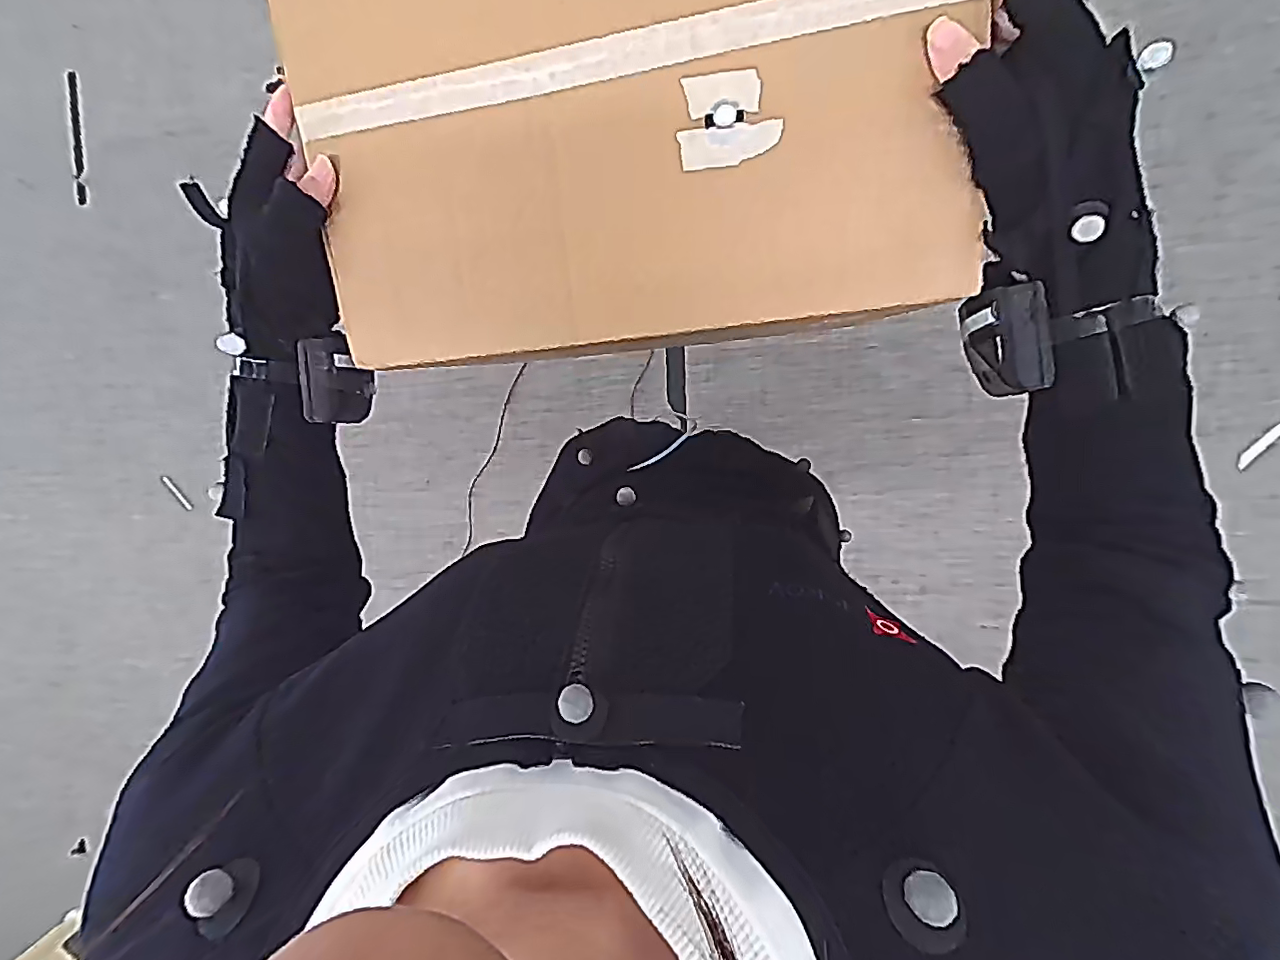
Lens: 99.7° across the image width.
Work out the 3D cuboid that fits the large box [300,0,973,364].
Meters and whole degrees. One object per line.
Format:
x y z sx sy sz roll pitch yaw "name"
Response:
0.006 -0.283 0.471 0.408 0.320 0.320 -5 103 9 "large box"
